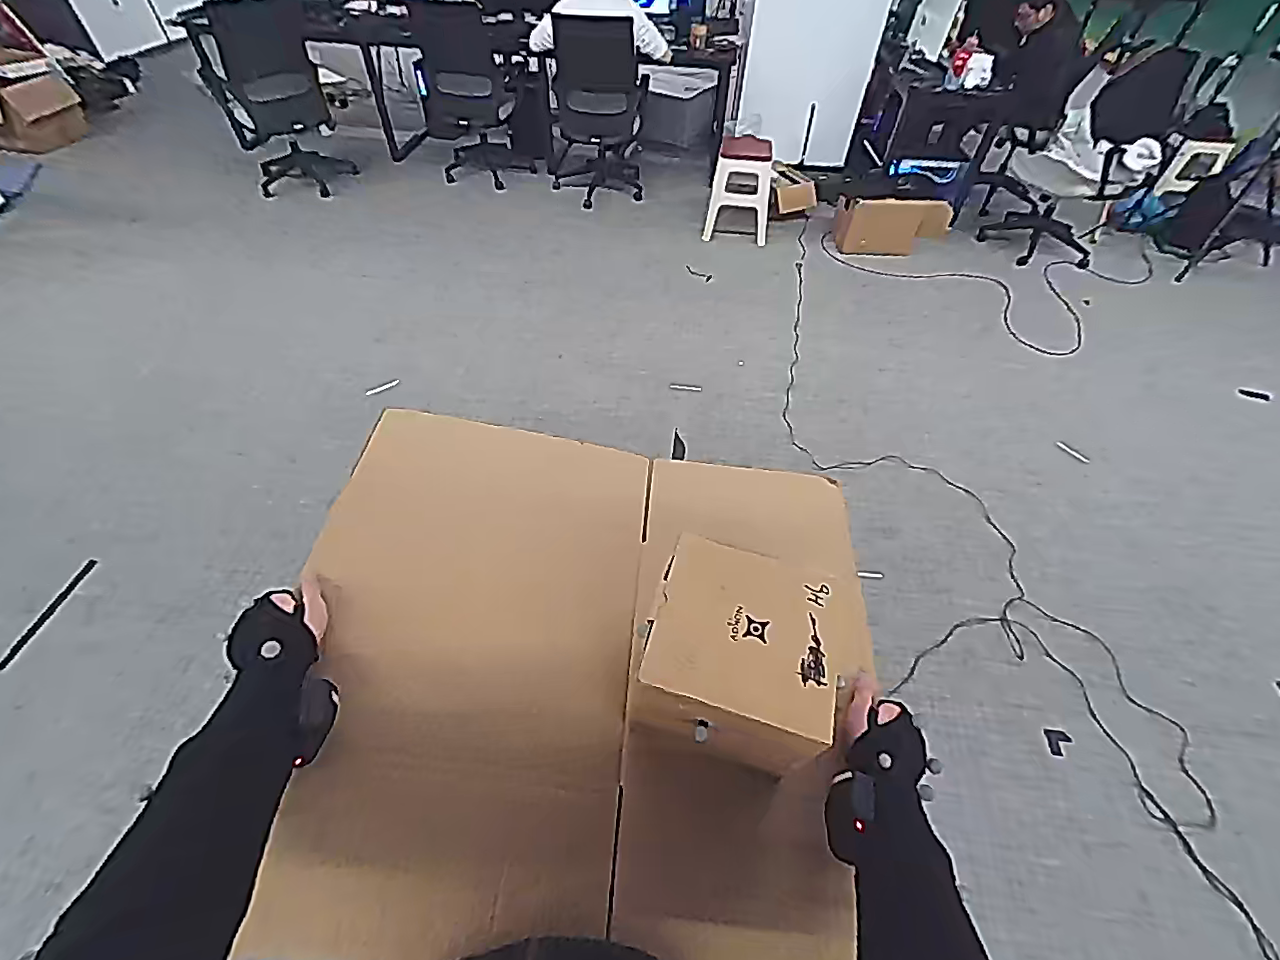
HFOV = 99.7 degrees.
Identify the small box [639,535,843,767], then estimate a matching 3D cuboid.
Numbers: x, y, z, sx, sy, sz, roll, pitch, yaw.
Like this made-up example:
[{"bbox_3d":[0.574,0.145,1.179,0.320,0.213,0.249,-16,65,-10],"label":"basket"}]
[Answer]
[{"bbox_3d":[0.102,0.188,0.585,0.179,0.176,0.168,14,53,9],"label":"small box"}]
